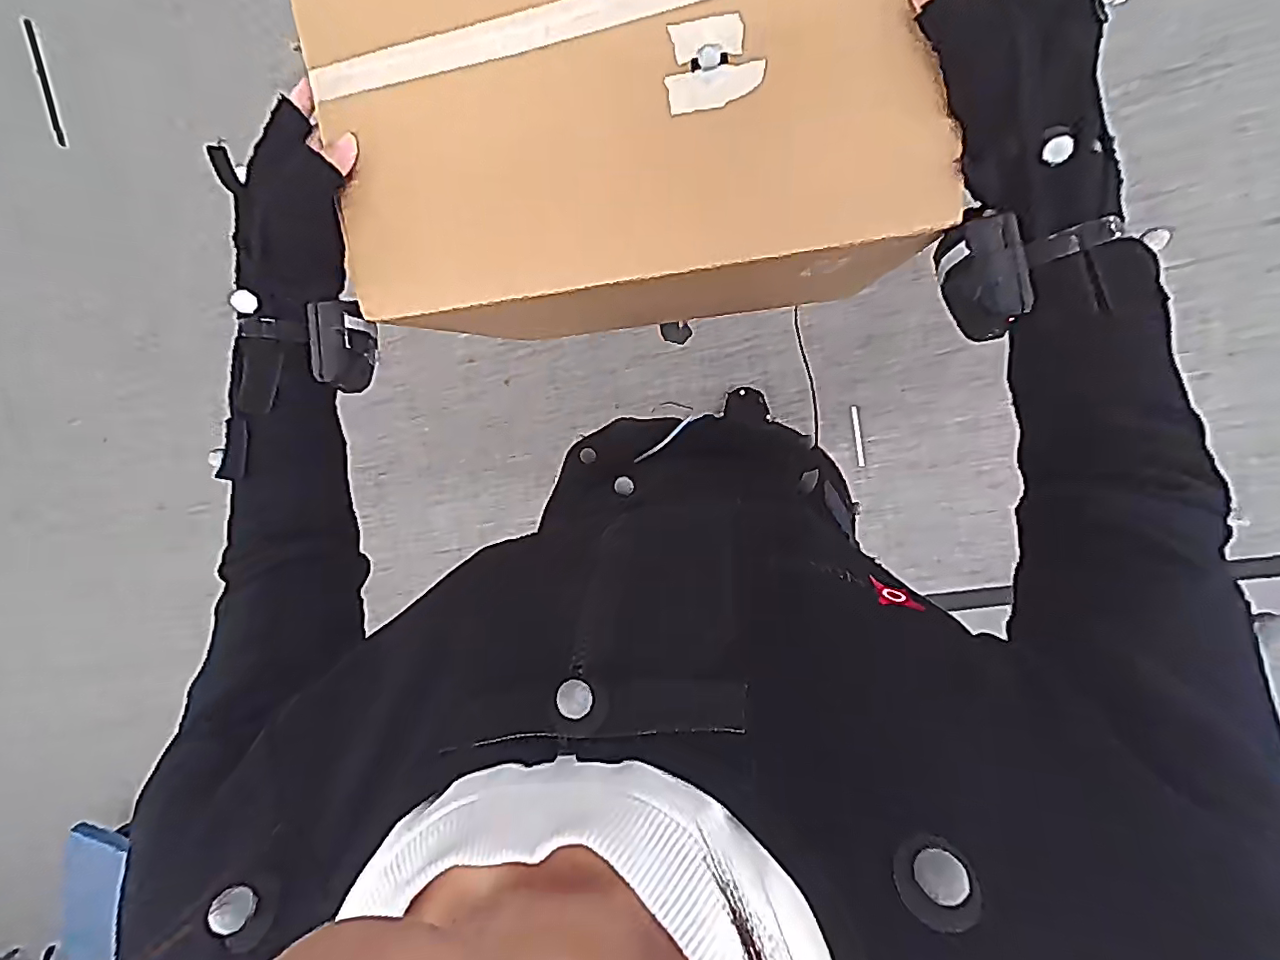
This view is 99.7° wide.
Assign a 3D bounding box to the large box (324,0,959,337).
[{"bbox_3d":[0.006,-0.323,0.487,0.408,0.320,0.320,-5,101,11],"label":"large box"}]
